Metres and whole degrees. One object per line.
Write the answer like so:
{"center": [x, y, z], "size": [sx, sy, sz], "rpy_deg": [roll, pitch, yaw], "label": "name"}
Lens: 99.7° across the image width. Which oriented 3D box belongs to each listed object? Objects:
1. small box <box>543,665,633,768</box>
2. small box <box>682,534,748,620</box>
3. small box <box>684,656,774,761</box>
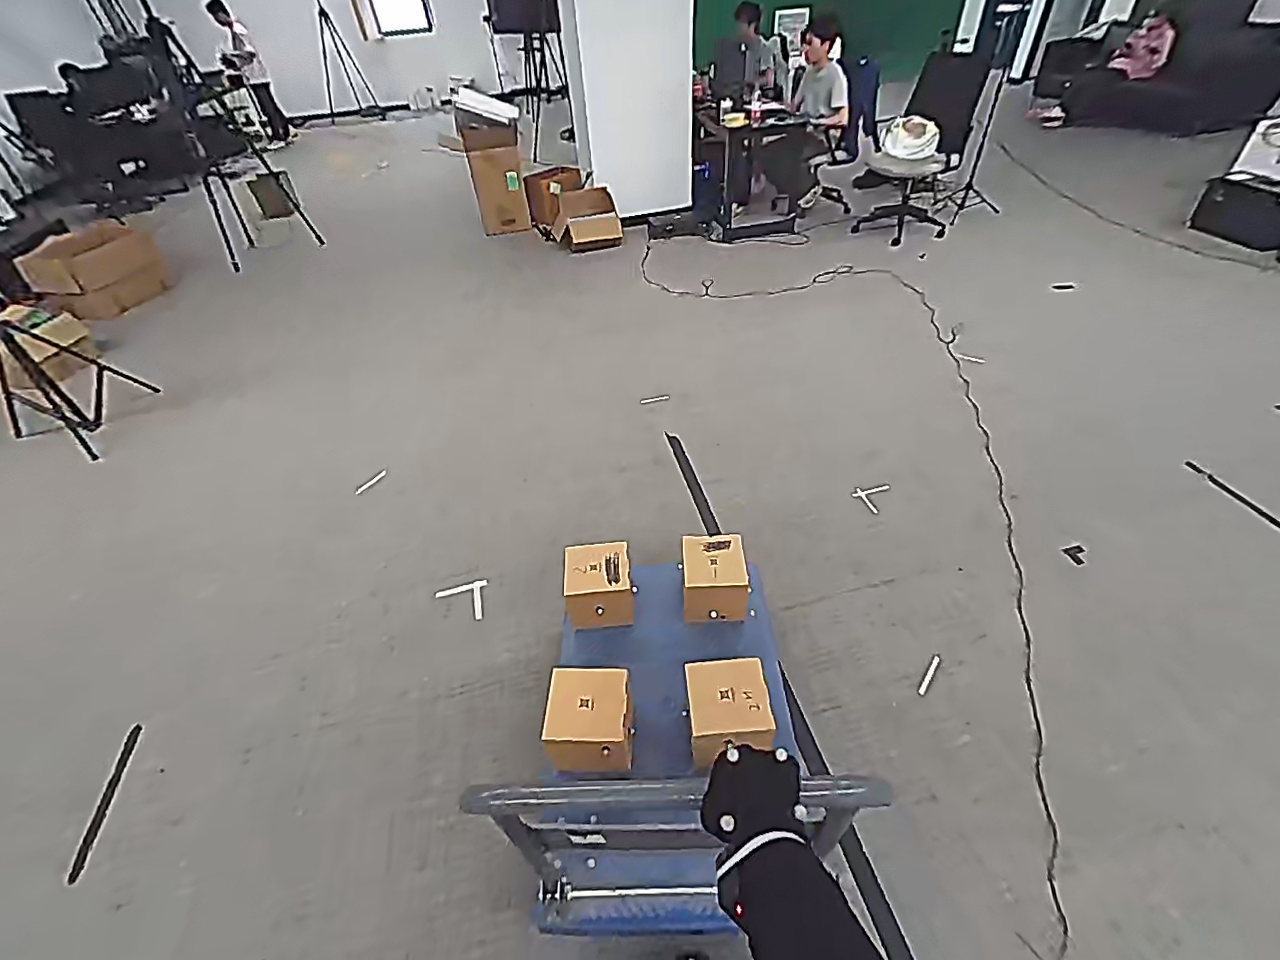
{"center": [-0.112, 0.544, 1.242], "size": [0.179, 0.176, 0.168], "rpy_deg": [0, 42, 3], "label": "small box"}
{"center": [0.204, 0.271, 1.511], "size": [0.168, 0.176, 0.179], "rpy_deg": [-2, 44, 3], "label": "small box"}
{"center": [0.197, 0.525, 1.232], "size": [0.179, 0.176, 0.168], "rpy_deg": [-4, 42, 1], "label": "small box"}
